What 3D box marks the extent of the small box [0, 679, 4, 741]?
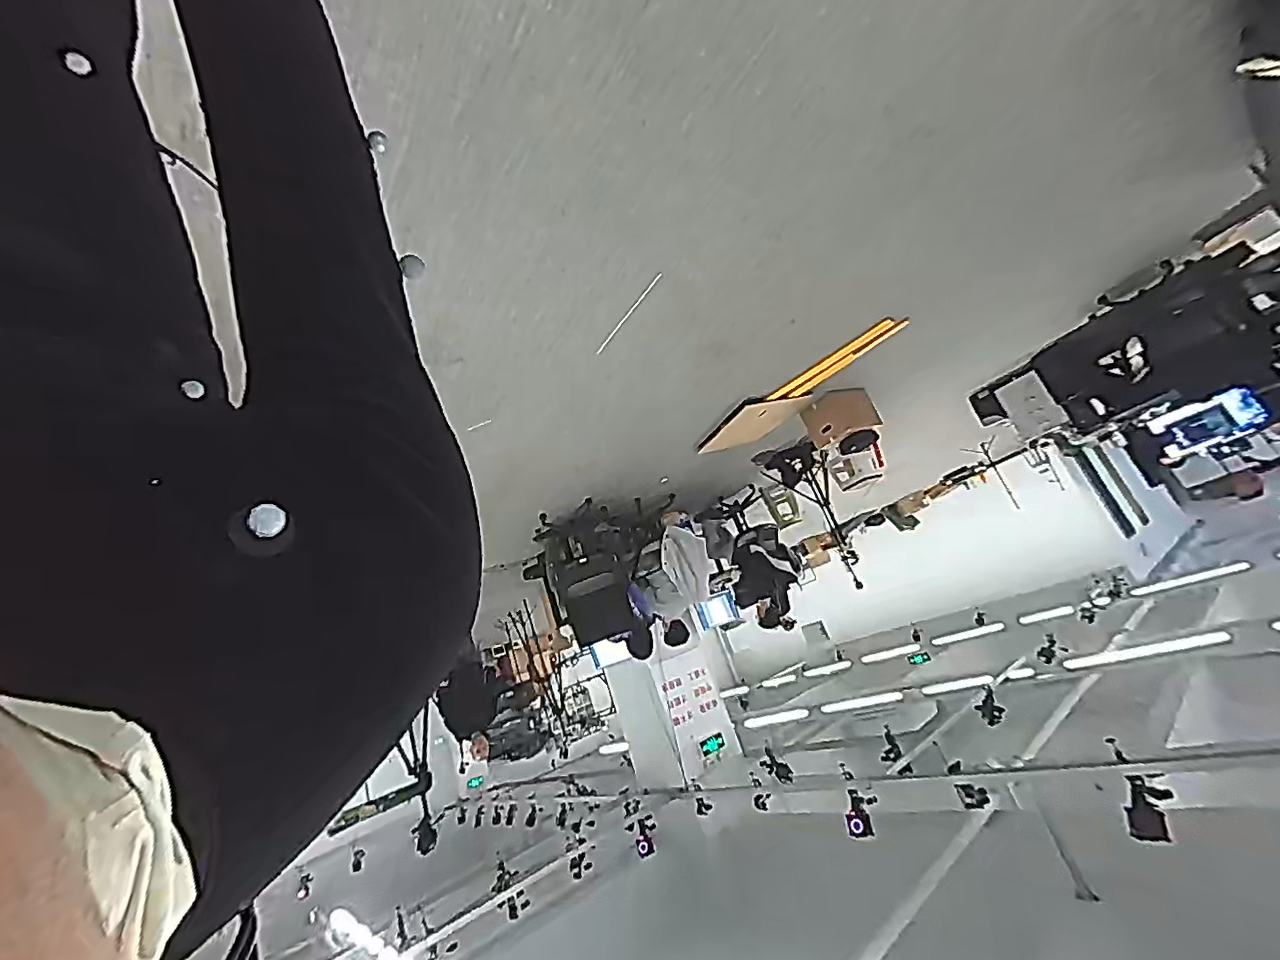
[{"bbox_3d":[-1.788,0.608,1.395,0.168,0.176,0.179,-7,157,-39],"label":"small box"}]
